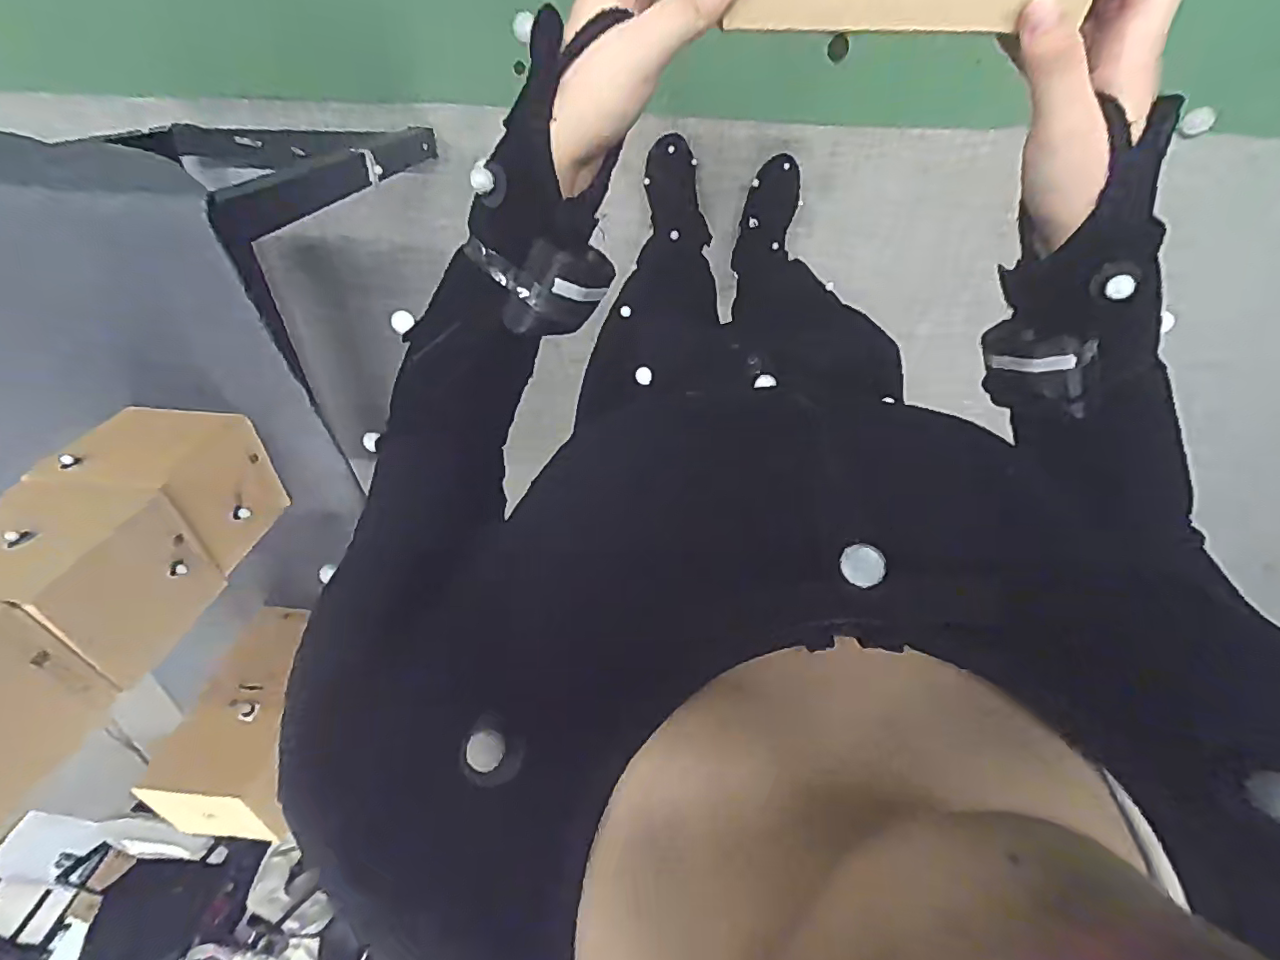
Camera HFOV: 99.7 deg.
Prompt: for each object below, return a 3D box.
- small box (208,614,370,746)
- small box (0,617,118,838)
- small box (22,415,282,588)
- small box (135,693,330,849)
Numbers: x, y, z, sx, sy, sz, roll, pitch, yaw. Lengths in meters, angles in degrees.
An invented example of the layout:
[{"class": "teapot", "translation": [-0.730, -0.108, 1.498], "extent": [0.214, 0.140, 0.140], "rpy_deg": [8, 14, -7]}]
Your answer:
[{"class": "small box", "translation": [-0.642, 0.372, 1.016], "extent": [0.168, 0.176, 0.179], "rpy_deg": [4, 130, 2]}, {"class": "small box", "translation": [-0.652, 0.233, 0.483], "extent": [0.179, 0.176, 0.168], "rpy_deg": [1, 130, 5]}, {"class": "small box", "translation": [-0.630, 0.025, 0.736], "extent": [0.179, 0.176, 0.168], "rpy_deg": [4, 129, 2]}, {"class": "small box", "translation": [-0.648, 0.476, 0.892], "extent": [0.168, 0.176, 0.179], "rpy_deg": [5, 127, 0]}]
